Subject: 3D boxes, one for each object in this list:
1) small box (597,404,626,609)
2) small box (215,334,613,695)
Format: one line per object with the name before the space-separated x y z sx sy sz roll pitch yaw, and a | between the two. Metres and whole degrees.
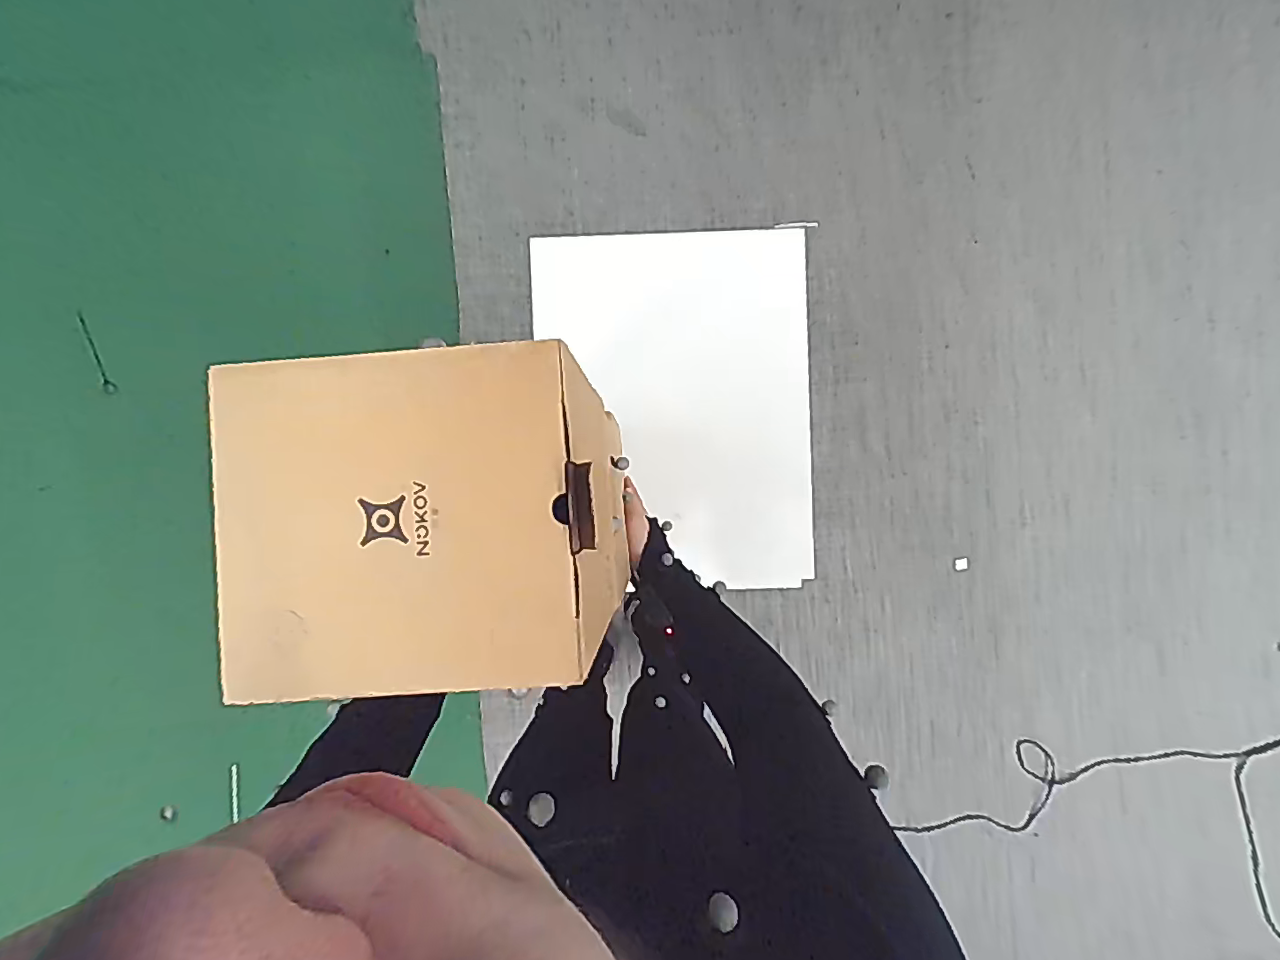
small box | -0.107 0.029 0.501 0.179 0.176 0.168 -7 88 2
small box | -0.114 0.020 0.338 0.179 0.176 0.168 -5 88 1
